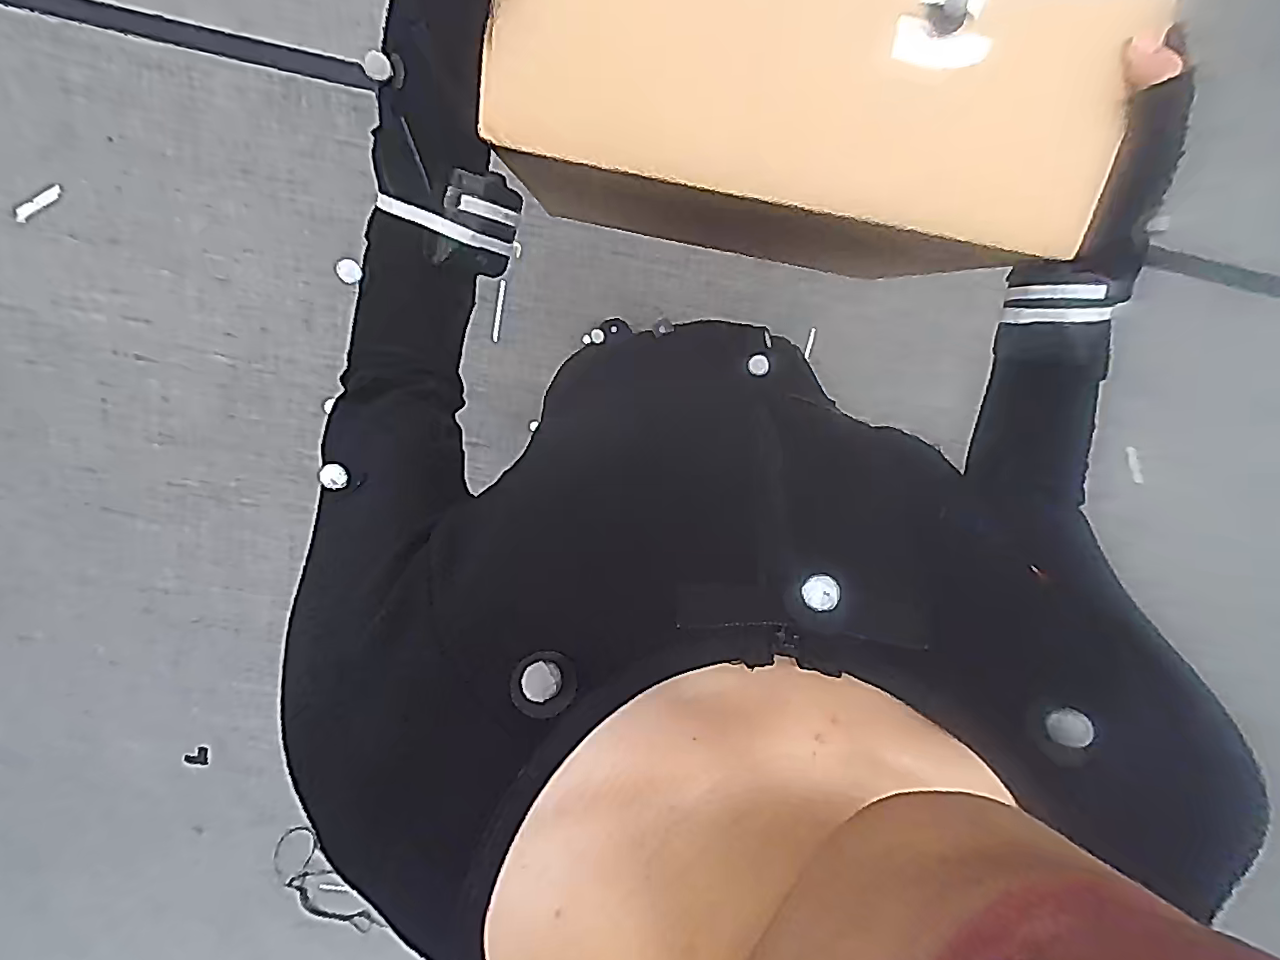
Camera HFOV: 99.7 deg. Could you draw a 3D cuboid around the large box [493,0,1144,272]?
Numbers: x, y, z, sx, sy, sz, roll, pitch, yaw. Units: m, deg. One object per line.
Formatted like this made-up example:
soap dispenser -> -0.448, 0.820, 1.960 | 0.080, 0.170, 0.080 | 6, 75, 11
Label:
large box -> 0.114, -0.381, 0.463 | 0.408, 0.320, 0.320 | 9, 107, -5
